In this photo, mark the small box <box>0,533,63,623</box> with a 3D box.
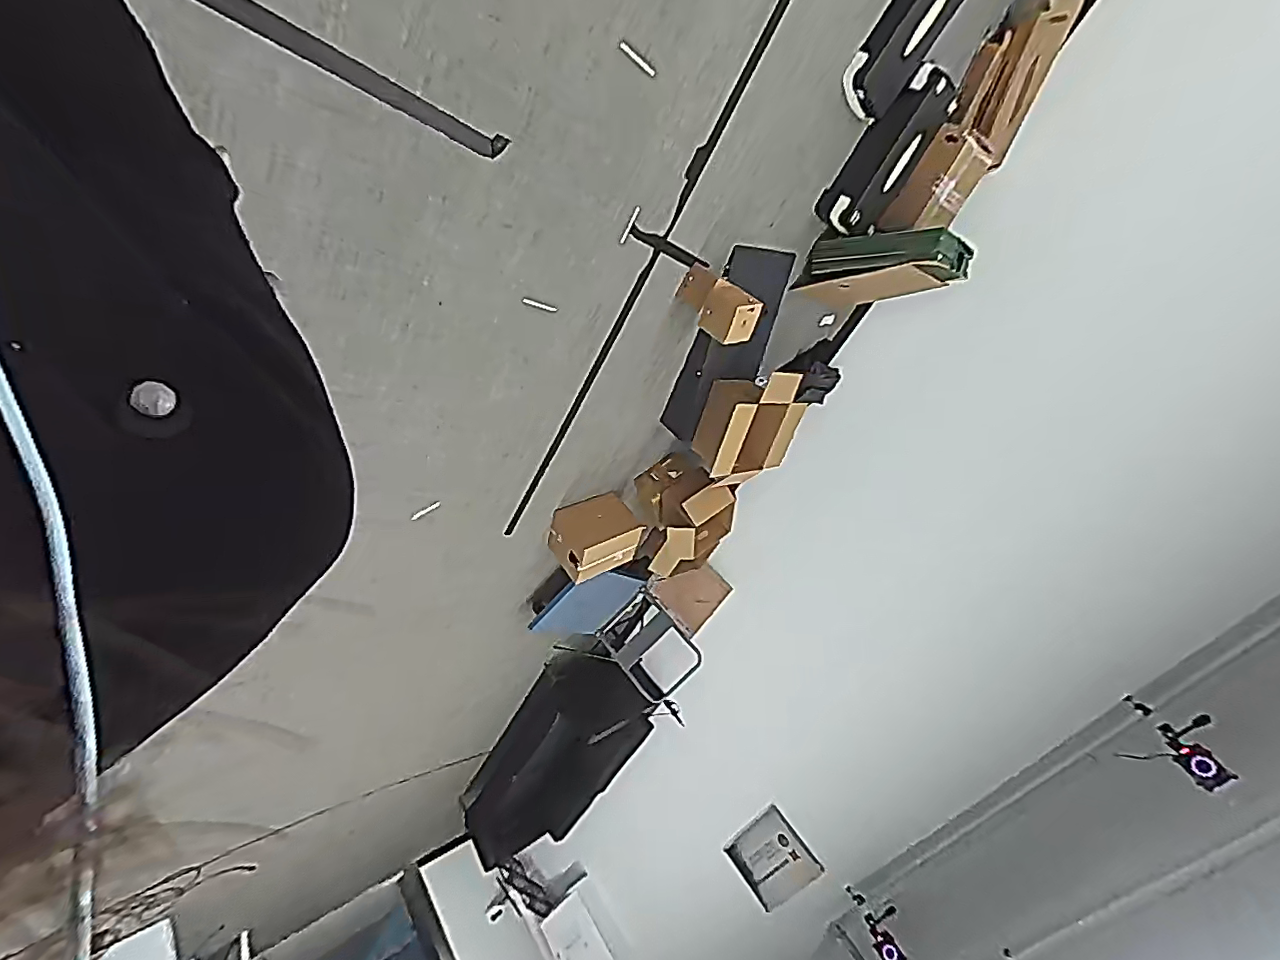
[{"bbox_3d":[-1.656,0.253,1.421,0.168,0.176,0.179,0,131,-52],"label":"small box"}]
